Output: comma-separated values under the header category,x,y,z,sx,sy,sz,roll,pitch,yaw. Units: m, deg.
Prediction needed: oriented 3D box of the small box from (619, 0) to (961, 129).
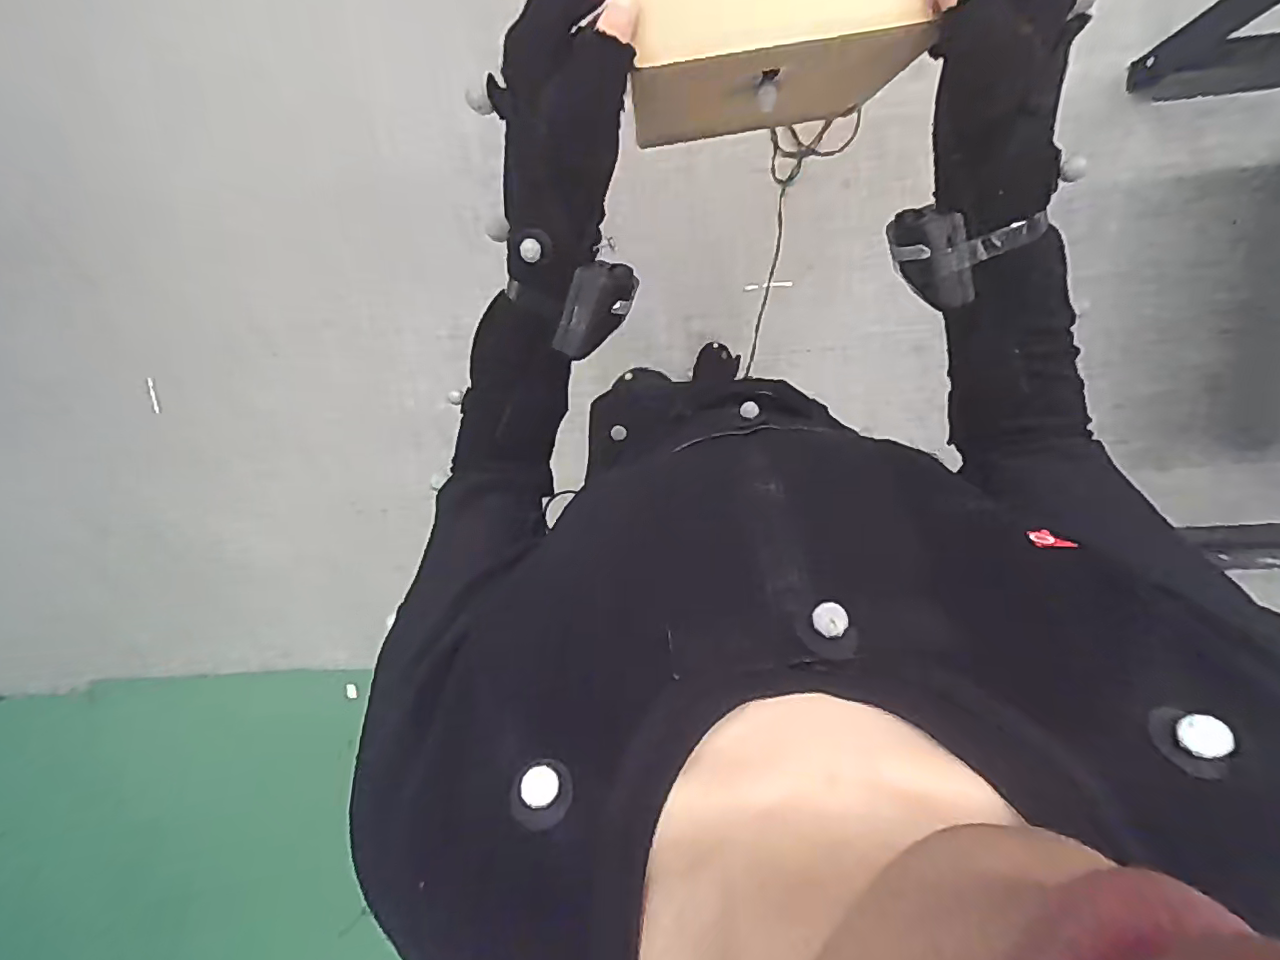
category,x,y,z,sx,sy,sz,roll,pitch,yaw
small box,0.070,-0.334,0.323,0.179,0.176,0.168,-6,110,5
